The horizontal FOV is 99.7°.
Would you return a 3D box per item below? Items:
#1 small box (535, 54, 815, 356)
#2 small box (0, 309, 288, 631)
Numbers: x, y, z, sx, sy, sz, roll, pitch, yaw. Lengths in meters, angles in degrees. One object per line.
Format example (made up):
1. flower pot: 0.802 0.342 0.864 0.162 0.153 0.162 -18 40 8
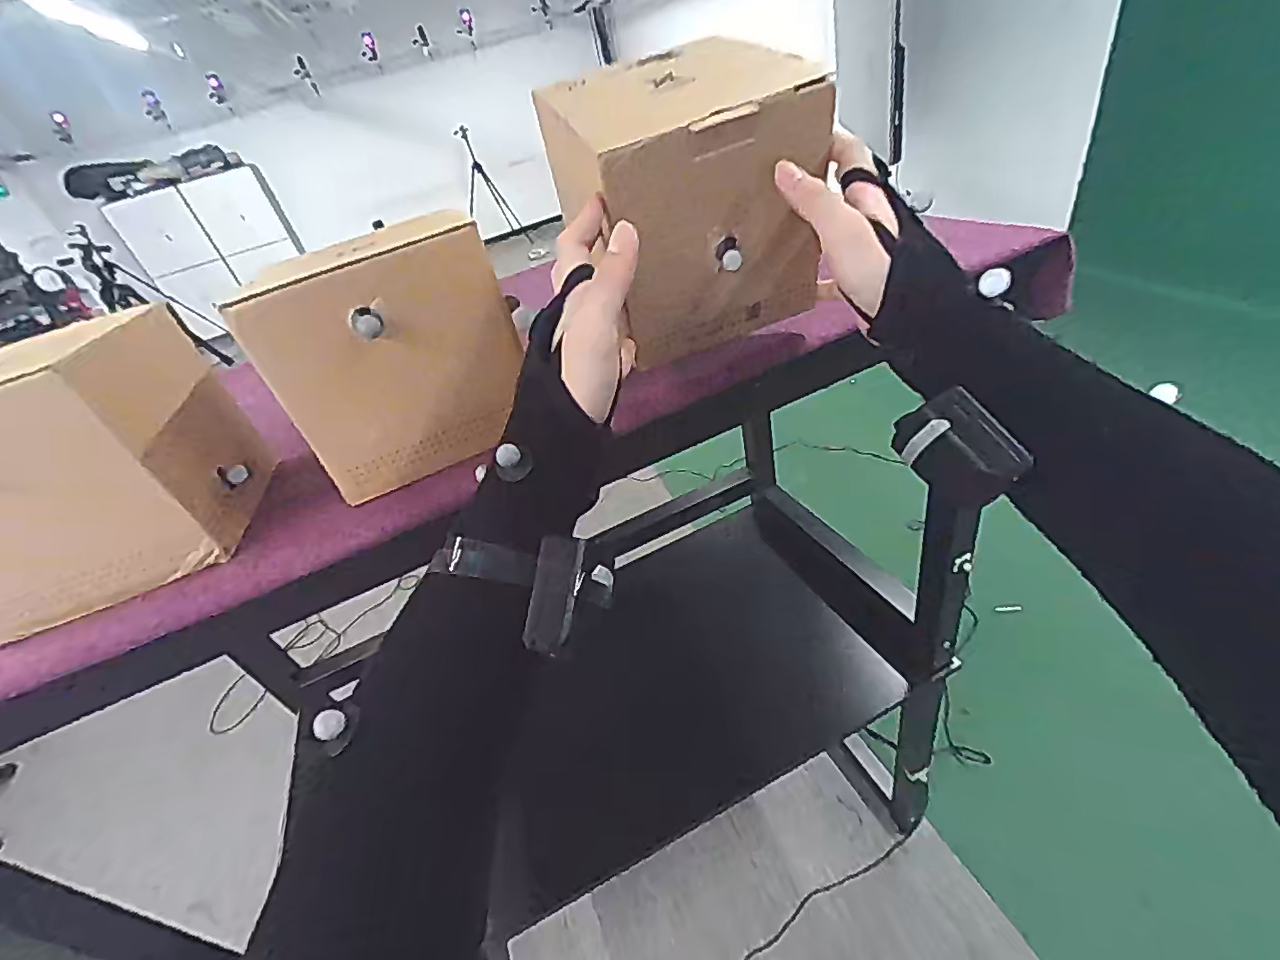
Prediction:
1. small box: 0.028 -0.228 0.465 0.168 0.176 0.179 -21 49 -7
2. small box: -0.431 -0.012 0.431 0.179 0.176 0.168 -21 35 -8
